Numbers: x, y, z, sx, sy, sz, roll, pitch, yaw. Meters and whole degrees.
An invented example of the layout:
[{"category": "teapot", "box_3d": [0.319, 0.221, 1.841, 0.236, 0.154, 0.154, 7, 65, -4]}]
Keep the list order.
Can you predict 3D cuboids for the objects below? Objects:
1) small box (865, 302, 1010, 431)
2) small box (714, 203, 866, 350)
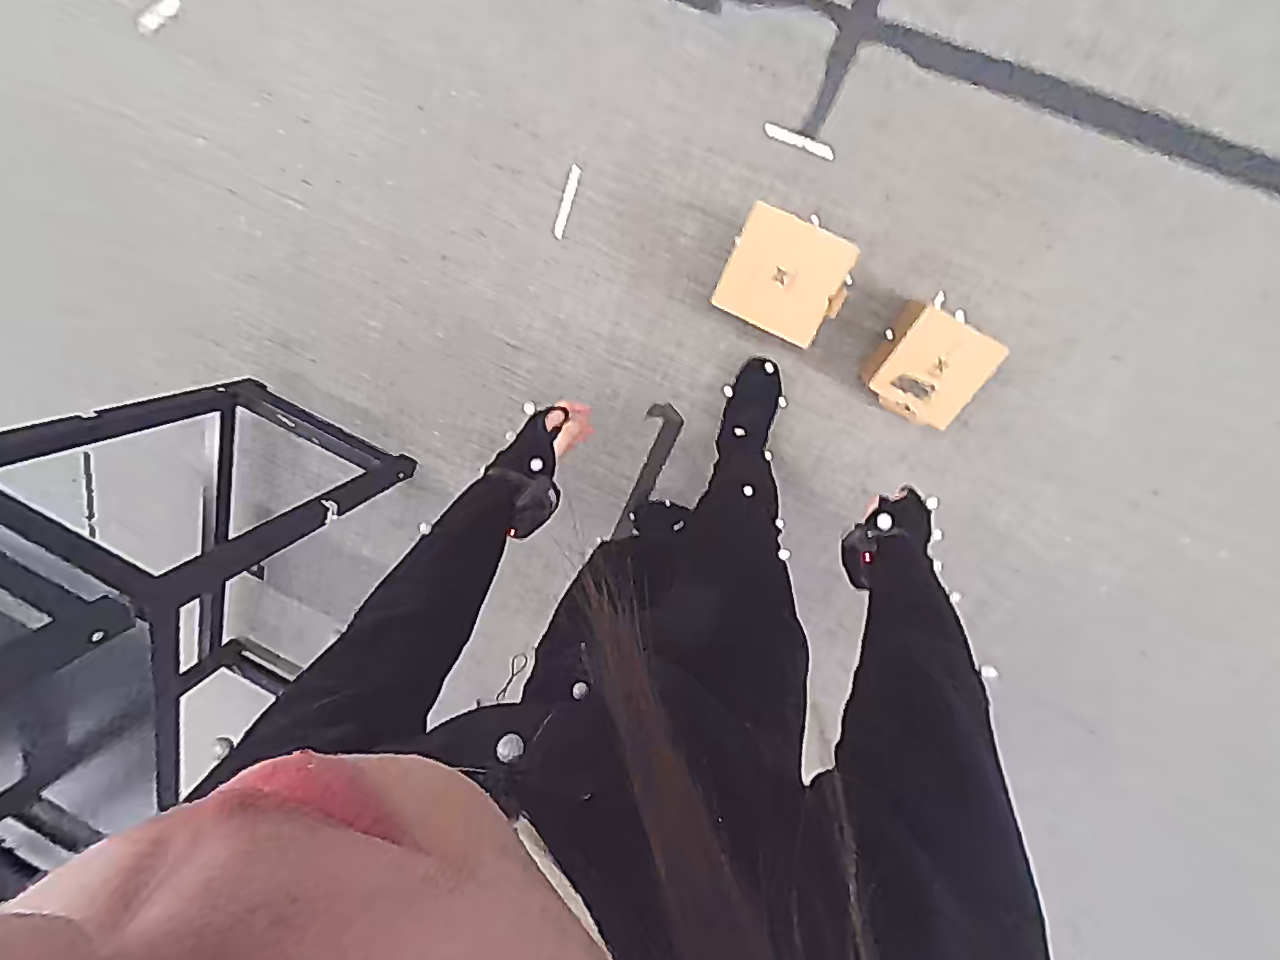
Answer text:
[{"category": "small box", "box_3d": [0.561, -0.227, 1.052, 0.168, 0.176, 0.179, 31, 115, 1]}, {"category": "small box", "box_3d": [0.247, -0.341, 0.908, 0.179, 0.176, 0.168, 27, 115, 4]}]
